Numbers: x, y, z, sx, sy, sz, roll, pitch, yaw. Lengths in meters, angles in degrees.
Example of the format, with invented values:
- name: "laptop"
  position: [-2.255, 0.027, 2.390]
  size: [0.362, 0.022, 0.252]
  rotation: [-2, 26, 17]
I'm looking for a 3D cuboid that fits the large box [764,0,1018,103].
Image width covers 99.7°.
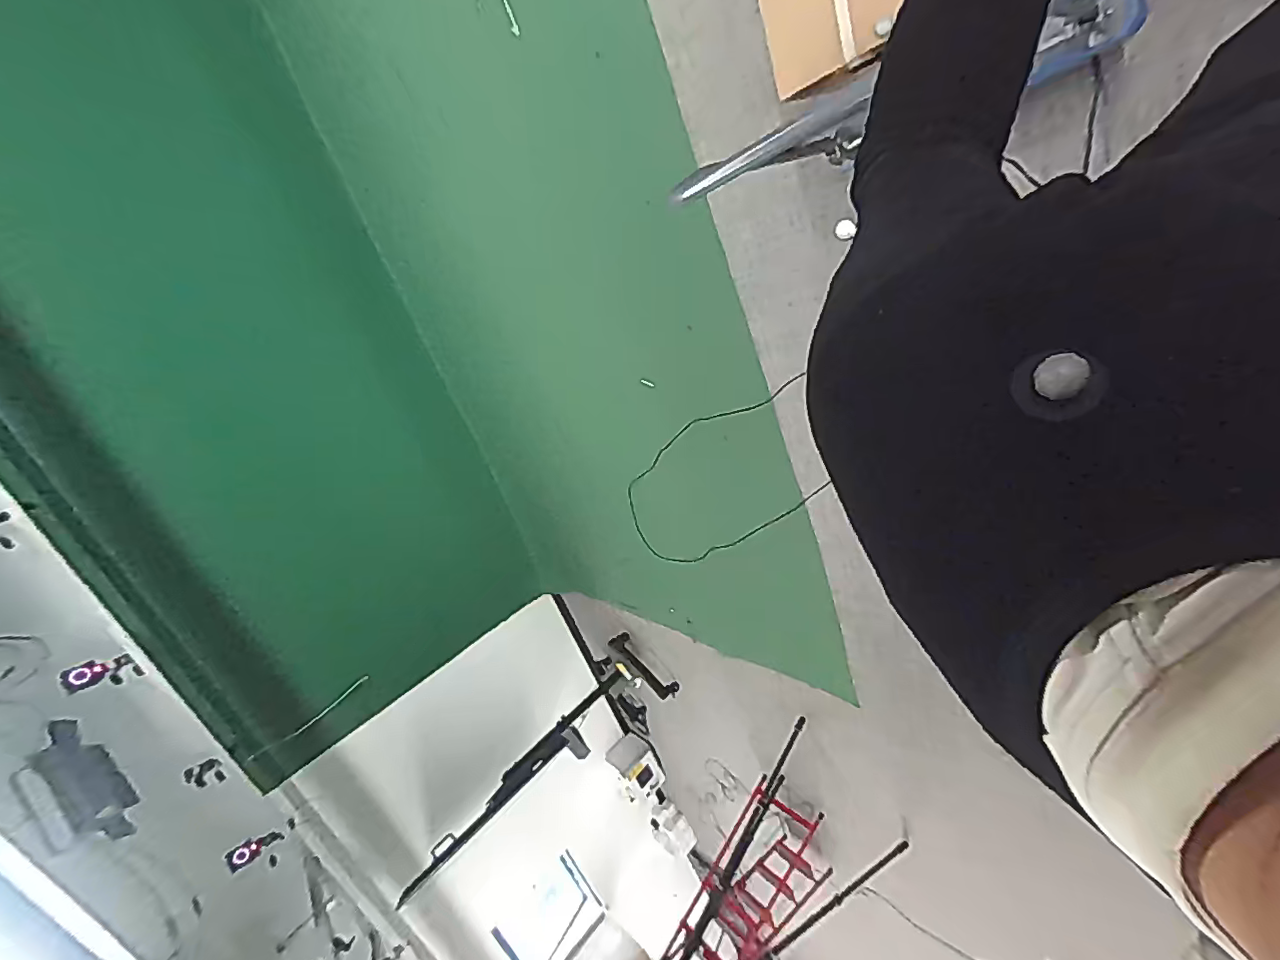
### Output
- name: "large box"
  position: [0.424, -0.973, 0.956]
  size: [0.320, 0.320, 0.408]
  rotation: [5, 122, 51]
